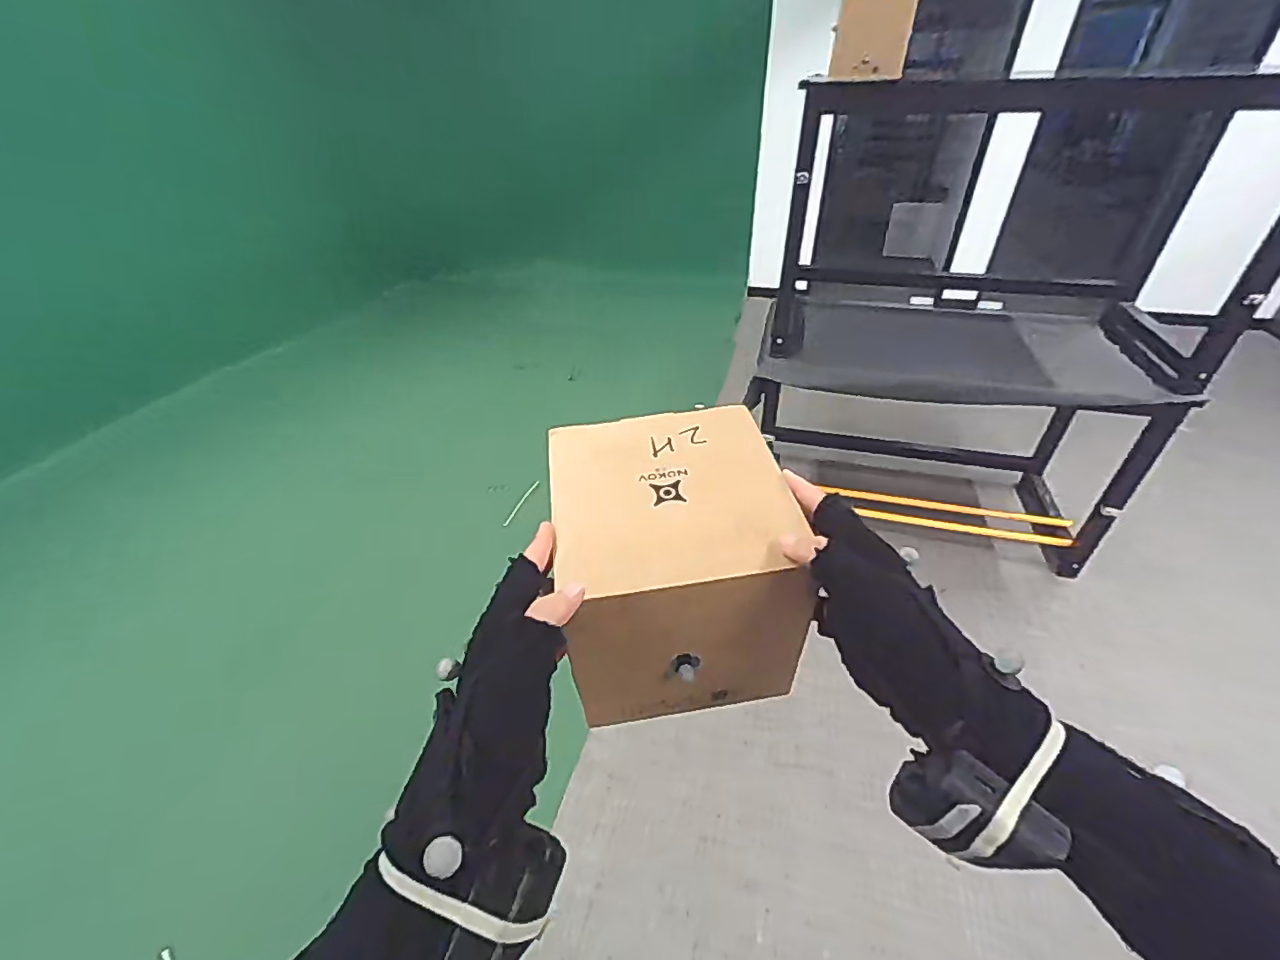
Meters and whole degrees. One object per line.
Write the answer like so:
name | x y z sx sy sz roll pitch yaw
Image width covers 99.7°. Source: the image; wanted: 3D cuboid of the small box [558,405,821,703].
small box | 0.028 0.063 0.443 0.168 0.176 0.179 -7 41 -4
